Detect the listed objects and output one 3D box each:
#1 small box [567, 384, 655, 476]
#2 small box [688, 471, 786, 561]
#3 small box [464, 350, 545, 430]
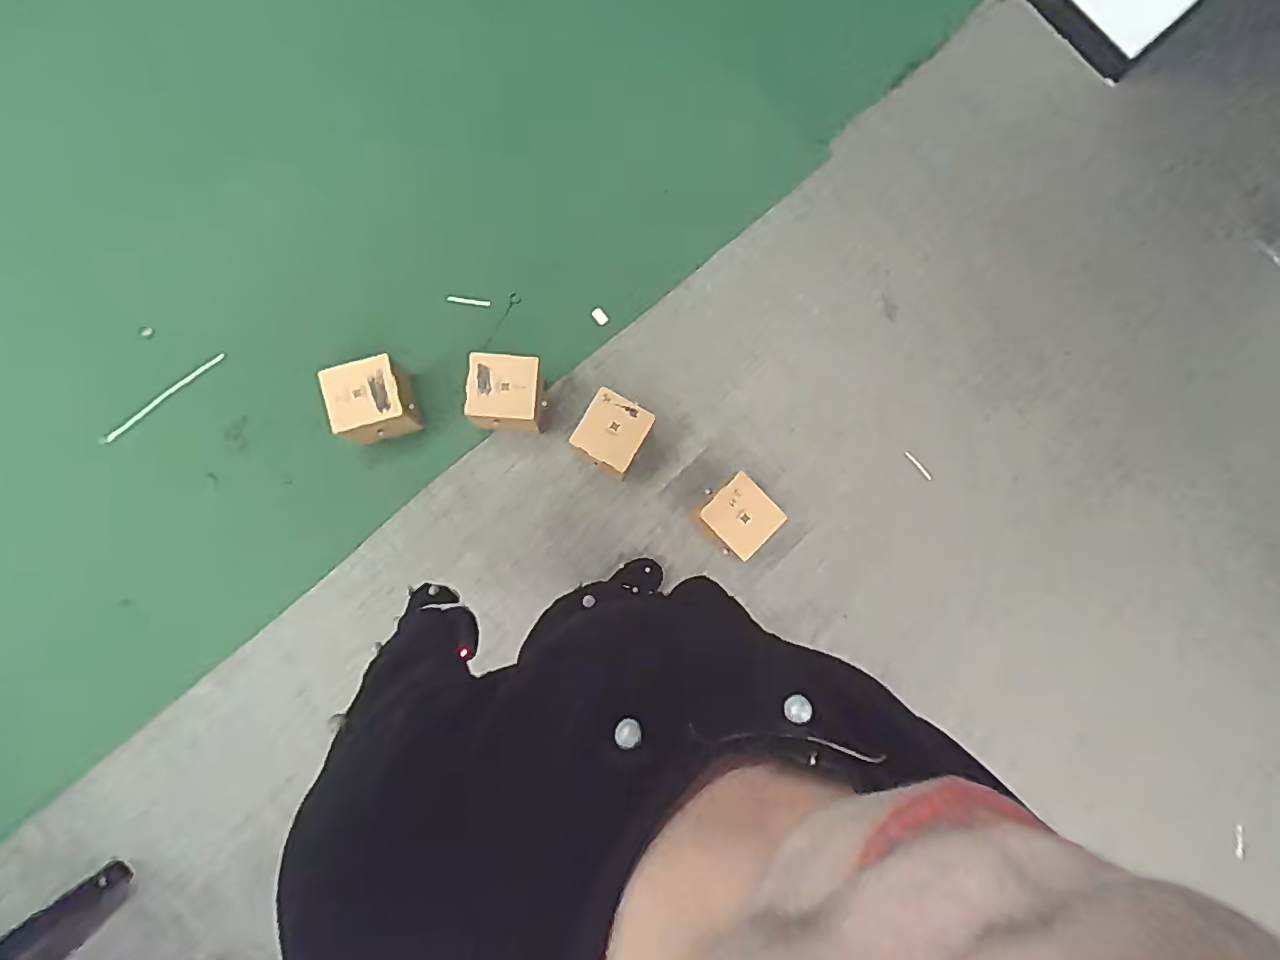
[{"bbox_3d":[-0.076,-0.125,1.456,0.168,0.176,0.179,31,83,0],"label":"small box"},{"bbox_3d":[0.254,0.098,1.456,0.168,0.176,0.179,-43,89,-8],"label":"small box"},{"bbox_3d":[-0.355,-0.235,1.446,0.179,0.176,0.168,4,83,-5],"label":"small box"}]
